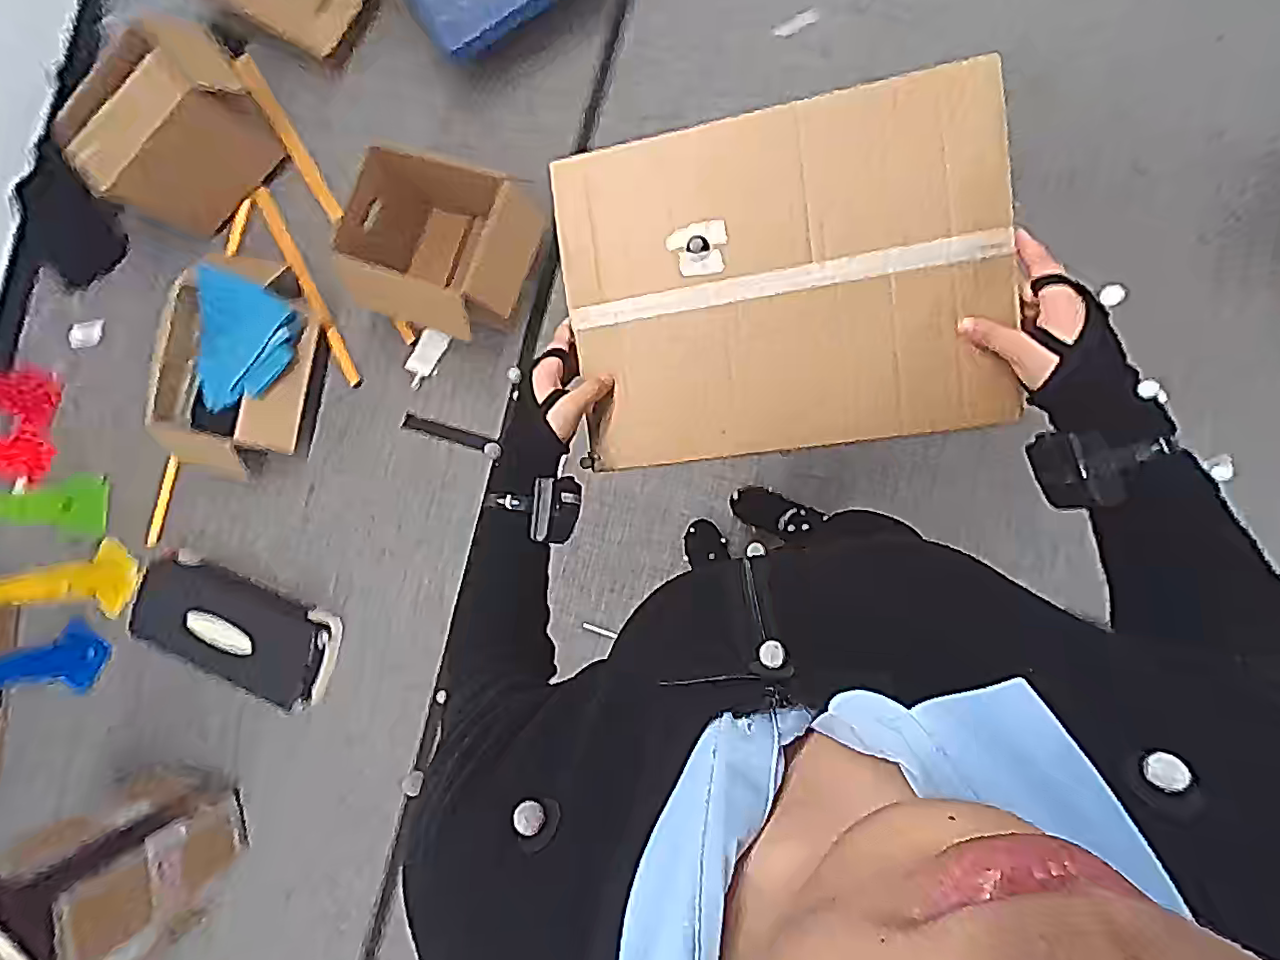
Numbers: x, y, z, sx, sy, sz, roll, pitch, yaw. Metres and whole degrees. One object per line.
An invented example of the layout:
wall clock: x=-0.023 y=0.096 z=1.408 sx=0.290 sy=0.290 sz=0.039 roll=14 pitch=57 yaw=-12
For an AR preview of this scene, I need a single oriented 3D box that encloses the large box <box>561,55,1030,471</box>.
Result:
large box: x=0.164 y=-0.199 z=0.648 sx=0.408 sy=0.320 sz=0.320 roll=-6 pitch=94 yaw=13
